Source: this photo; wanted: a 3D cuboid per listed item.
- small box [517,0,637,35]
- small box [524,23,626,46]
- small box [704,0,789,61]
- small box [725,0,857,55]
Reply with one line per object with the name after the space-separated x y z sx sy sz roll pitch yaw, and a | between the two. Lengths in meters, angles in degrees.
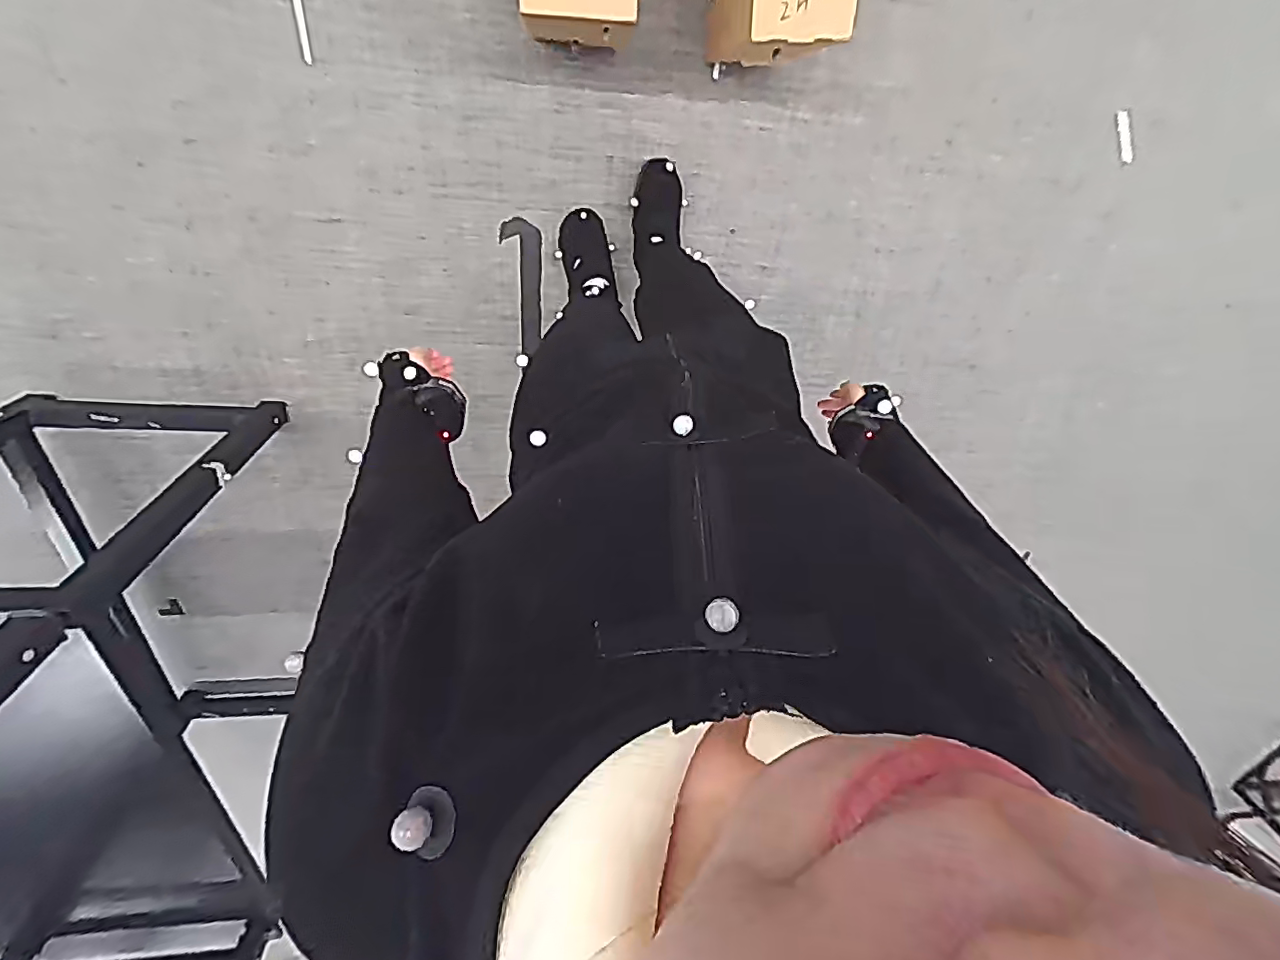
-0.096 -0.790 0.813 0.179 0.176 0.168 -1 123 -7 | small box
-0.115 -0.881 0.948 0.179 0.176 0.168 0 123 -9 | small box
0.217 -0.887 0.995 0.168 0.176 0.179 -6 123 -5 | small box
0.238 -0.798 0.858 0.168 0.176 0.179 -4 123 -5 | small box
